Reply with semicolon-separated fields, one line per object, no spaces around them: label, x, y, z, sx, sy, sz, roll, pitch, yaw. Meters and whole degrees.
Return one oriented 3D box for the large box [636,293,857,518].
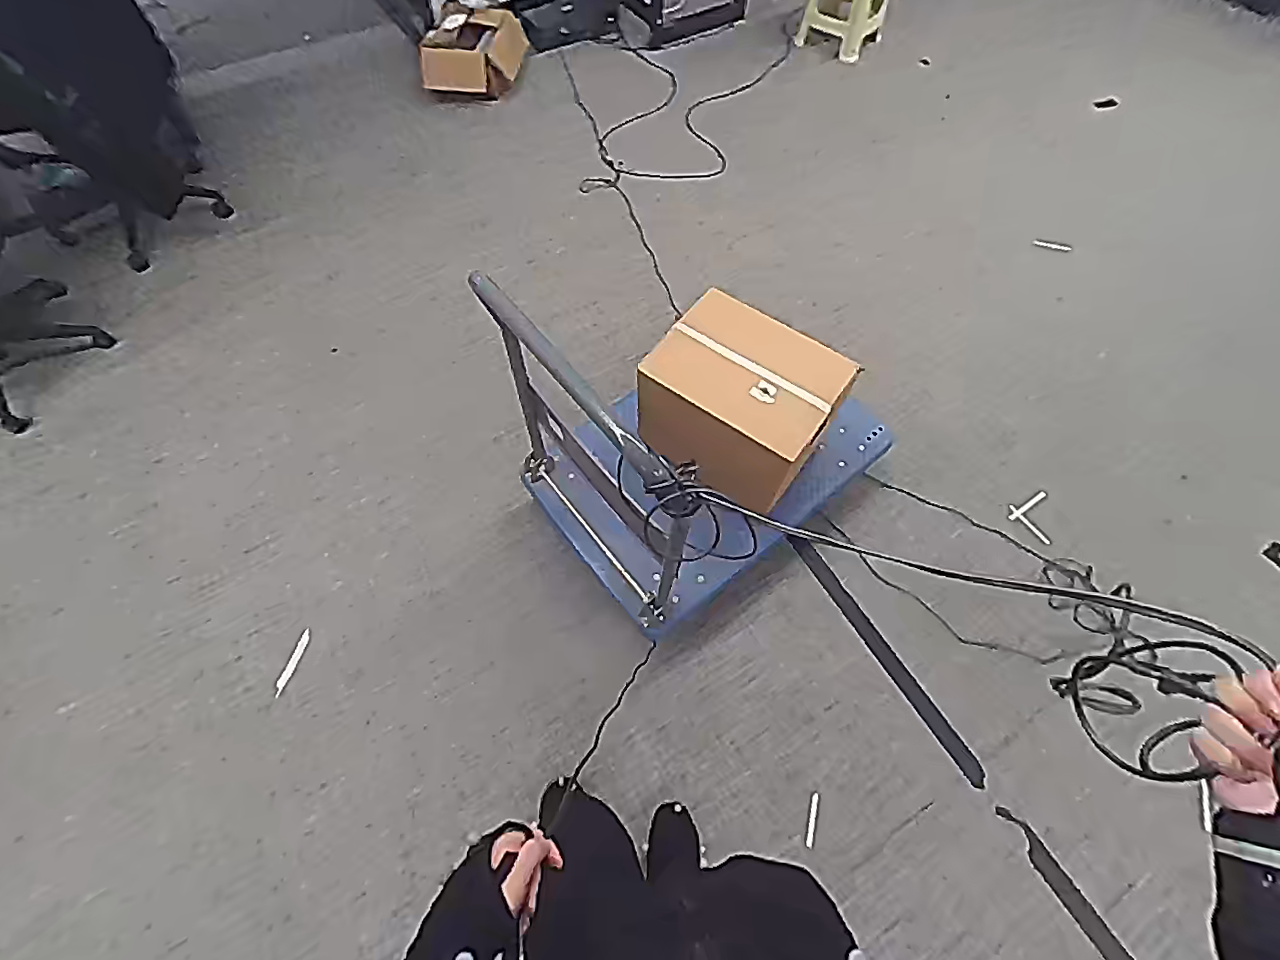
large box;0.236;-0.177;1.335;0.408;0.320;0.320;34;69;15
